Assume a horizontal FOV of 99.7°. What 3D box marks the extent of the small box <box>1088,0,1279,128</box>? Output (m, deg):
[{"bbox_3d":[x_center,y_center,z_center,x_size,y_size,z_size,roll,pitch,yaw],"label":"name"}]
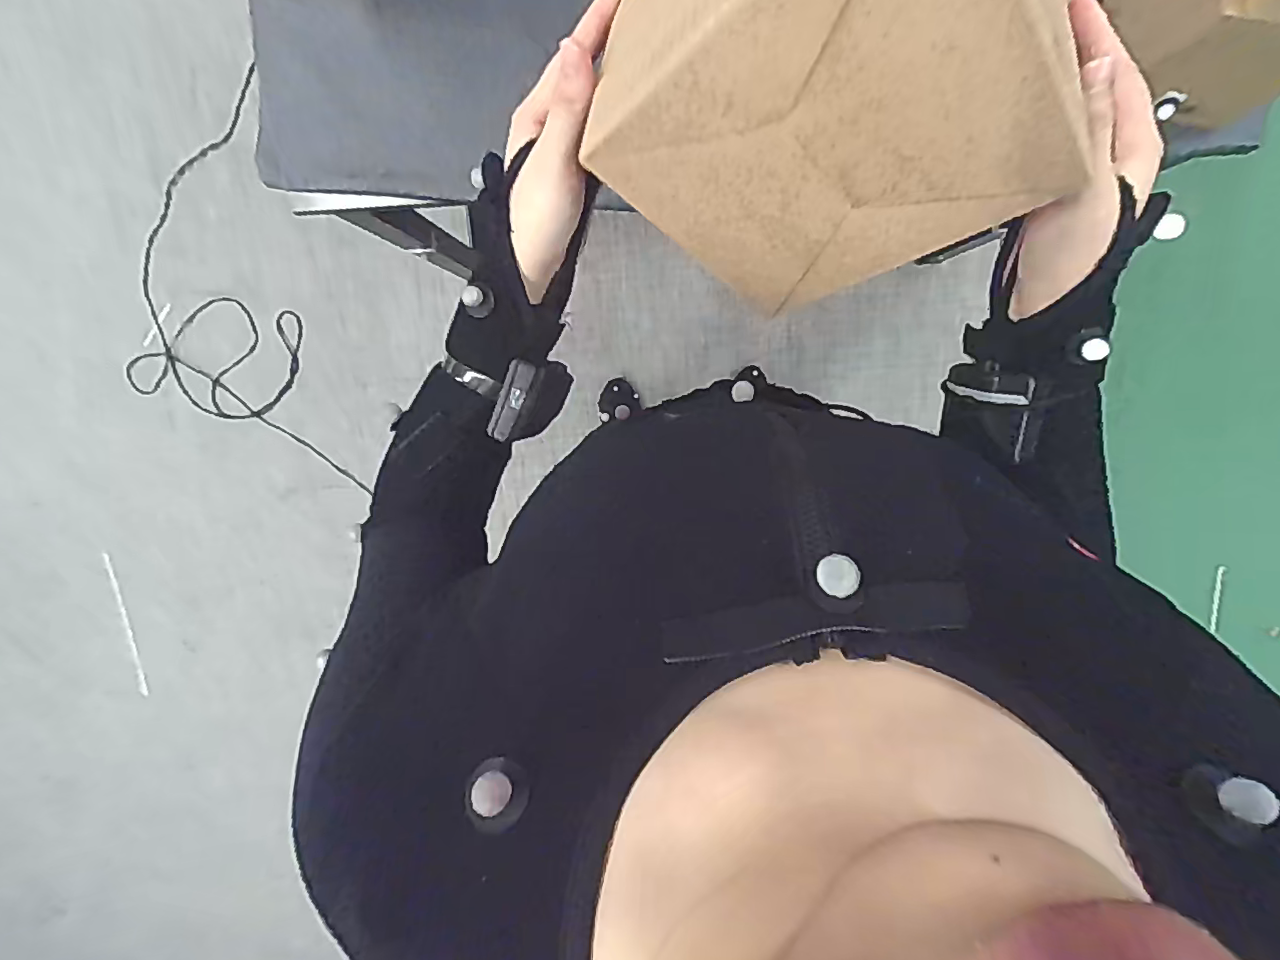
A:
[{"bbox_3d":[0.610,-0.499,0.549,0.168,0.176,0.179,7,98,2],"label":"small box"}]
